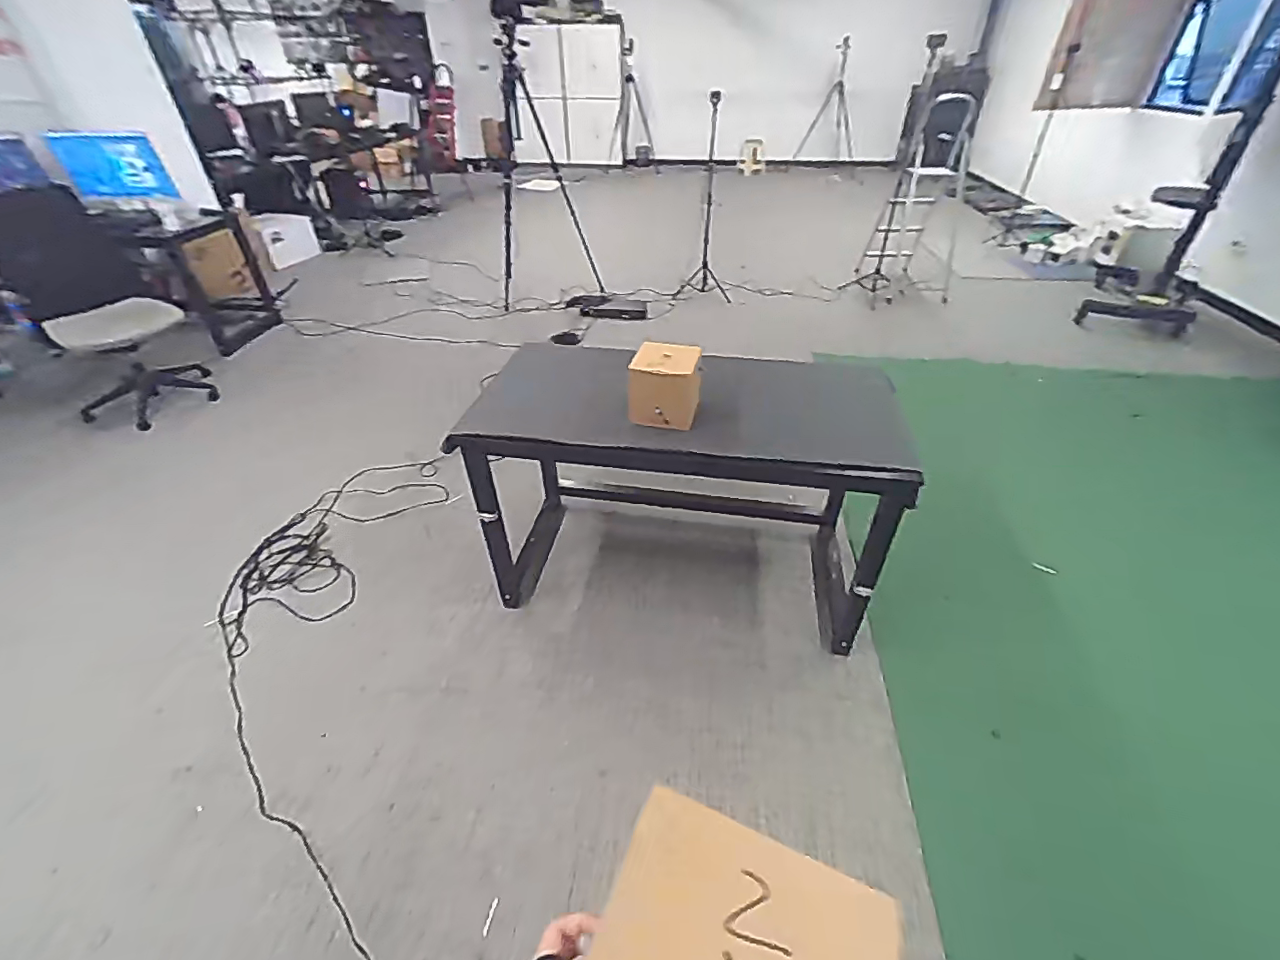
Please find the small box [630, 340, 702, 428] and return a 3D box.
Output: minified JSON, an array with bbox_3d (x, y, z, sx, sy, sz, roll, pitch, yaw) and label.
[{"bbox_3d":[0.071,-0.264,1.479,0.168,0.176,0.179,8,39,12],"label":"small box"}]
